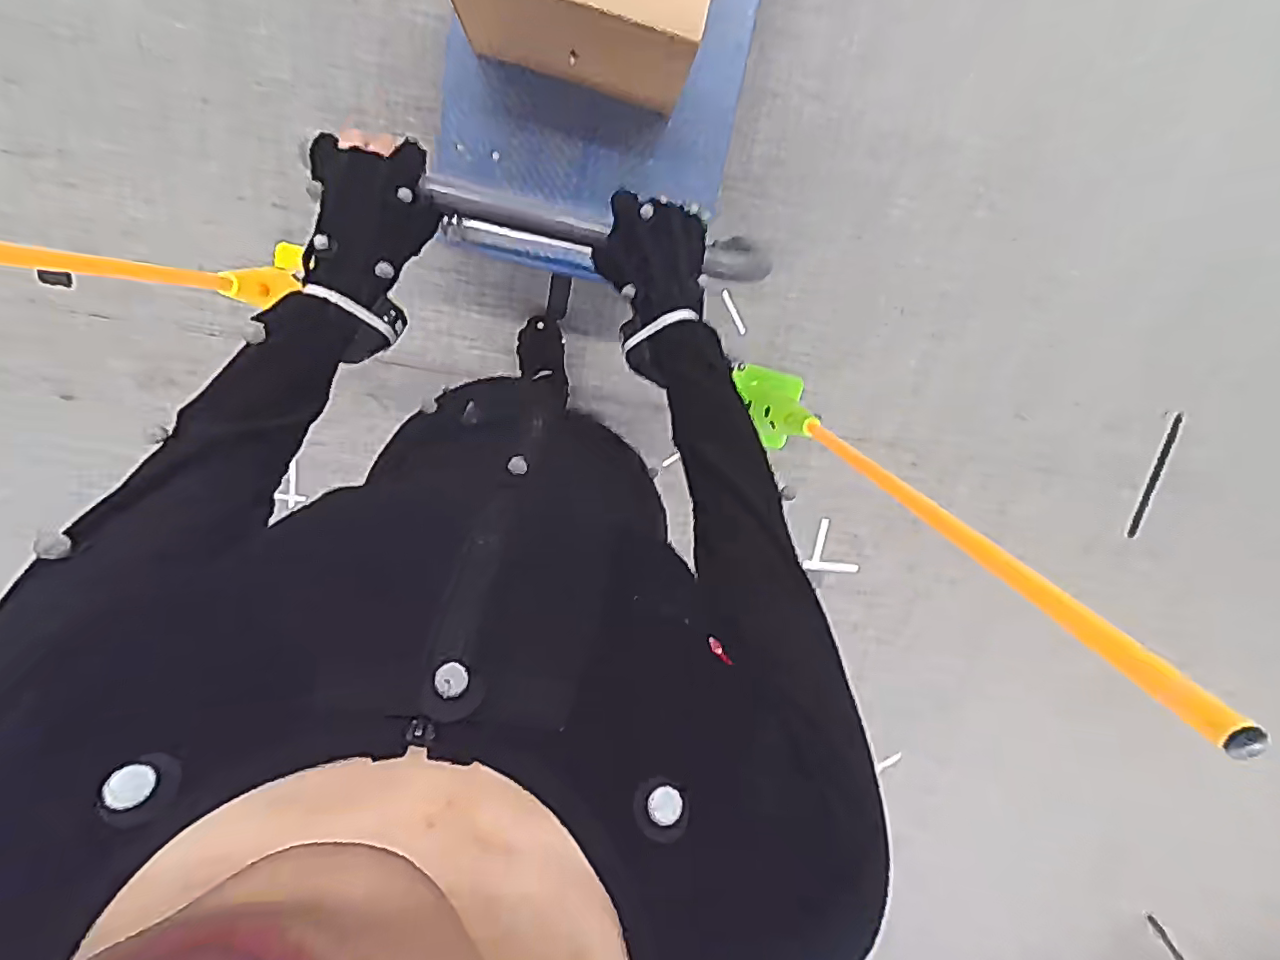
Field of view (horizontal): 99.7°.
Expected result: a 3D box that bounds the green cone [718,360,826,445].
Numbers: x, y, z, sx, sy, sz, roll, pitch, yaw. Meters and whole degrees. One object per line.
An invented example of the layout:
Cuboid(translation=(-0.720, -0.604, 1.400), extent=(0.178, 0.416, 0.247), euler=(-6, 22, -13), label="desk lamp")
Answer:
Cuboid(translation=(0.344, -0.160, 1.294), extent=(0.202, 0.368, 0.200), euler=(13, 104, -10), label="green cone")

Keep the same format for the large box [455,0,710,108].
Cuboid(translation=(-0.076, -0.891, 0.900), extent=(0.408, 0.320, 0.320), euler=(12, 105, -8), label="large box")
